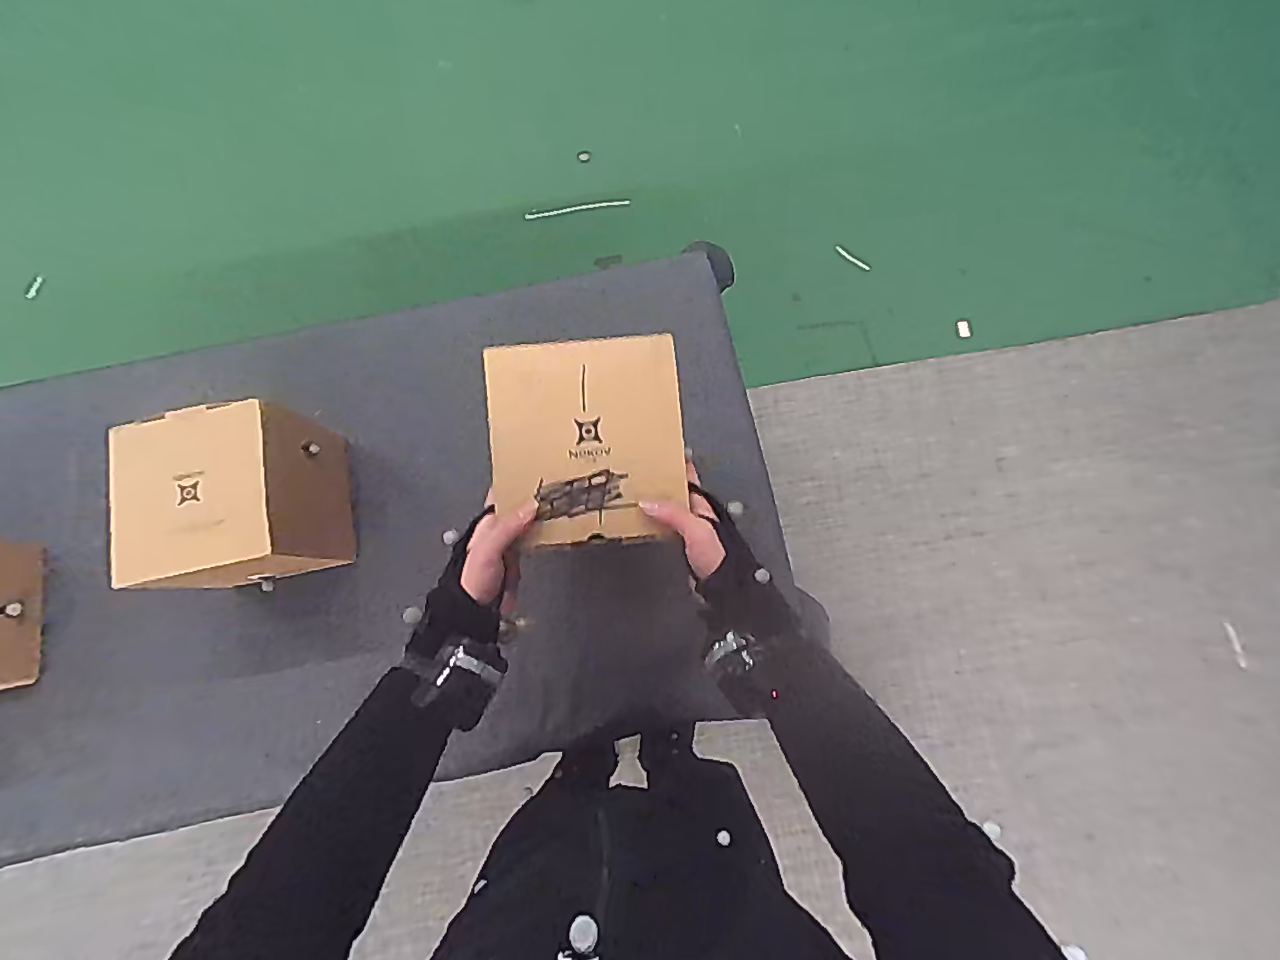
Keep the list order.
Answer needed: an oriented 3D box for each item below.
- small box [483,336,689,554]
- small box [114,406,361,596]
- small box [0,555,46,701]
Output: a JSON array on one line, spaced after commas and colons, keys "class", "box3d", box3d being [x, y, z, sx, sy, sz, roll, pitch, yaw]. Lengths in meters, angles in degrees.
[{"class": "small box", "box3d": [-0.048, -0.028, 0.534, 0.168, 0.176, 0.179, -5, 87, -3]}, {"class": "small box", "box3d": [-0.462, 0.034, 0.642, 0.168, 0.176, 0.179, -13, 80, 0]}, {"class": "small box", "box3d": [-0.843, 0.179, 0.613, 0.168, 0.176, 0.179, -12, 78, -2]}]
